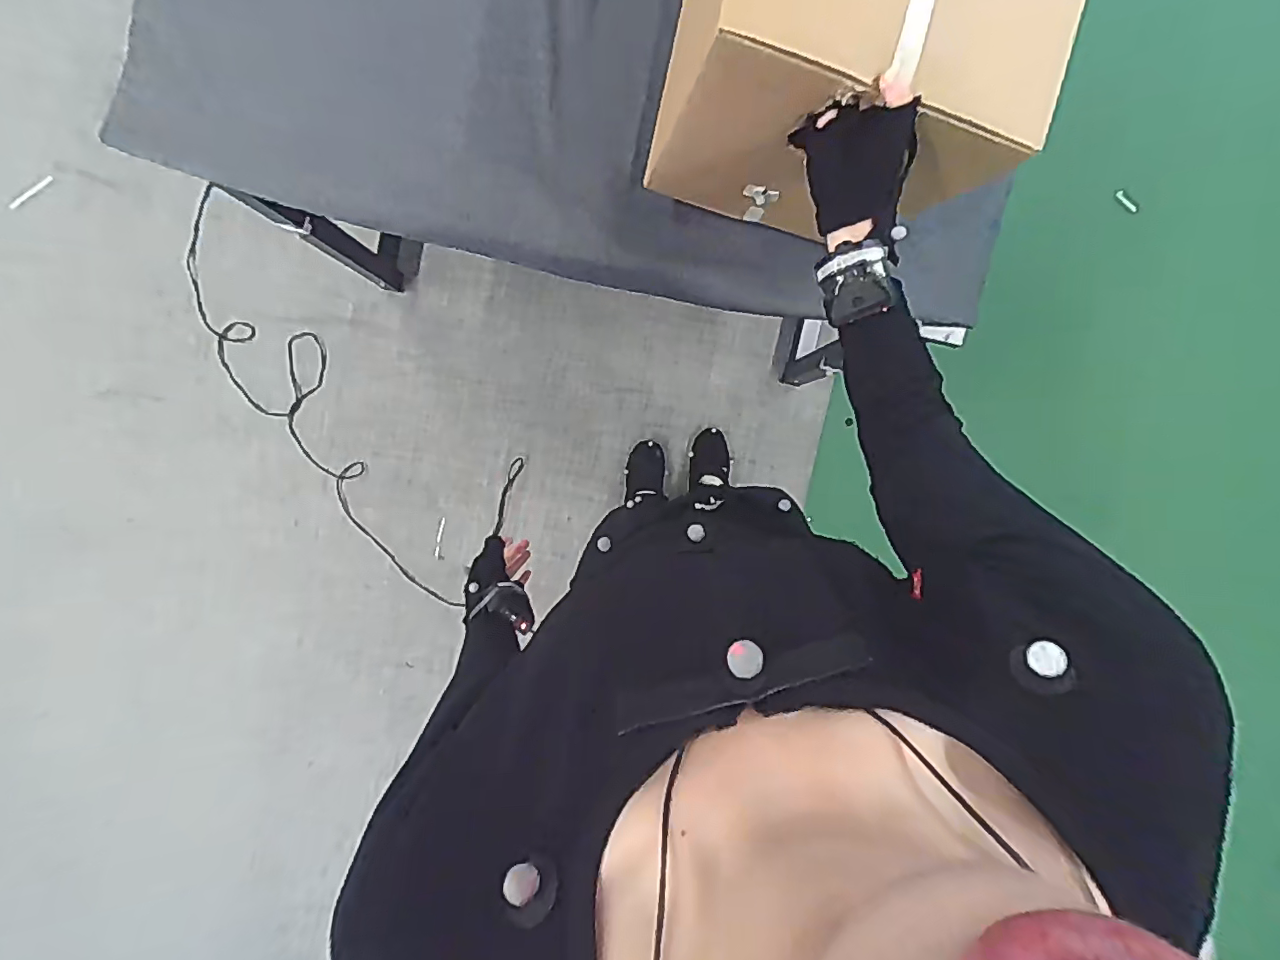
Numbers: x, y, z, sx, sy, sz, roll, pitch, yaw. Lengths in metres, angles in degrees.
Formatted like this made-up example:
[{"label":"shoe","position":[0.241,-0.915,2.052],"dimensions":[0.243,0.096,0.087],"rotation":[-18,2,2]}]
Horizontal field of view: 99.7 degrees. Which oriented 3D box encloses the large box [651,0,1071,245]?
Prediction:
[{"label":"large box","position":[0.217,-0.531,0.582],"dimensions":[0.320,0.320,0.408],"rotation":[11,94,-11]}]
